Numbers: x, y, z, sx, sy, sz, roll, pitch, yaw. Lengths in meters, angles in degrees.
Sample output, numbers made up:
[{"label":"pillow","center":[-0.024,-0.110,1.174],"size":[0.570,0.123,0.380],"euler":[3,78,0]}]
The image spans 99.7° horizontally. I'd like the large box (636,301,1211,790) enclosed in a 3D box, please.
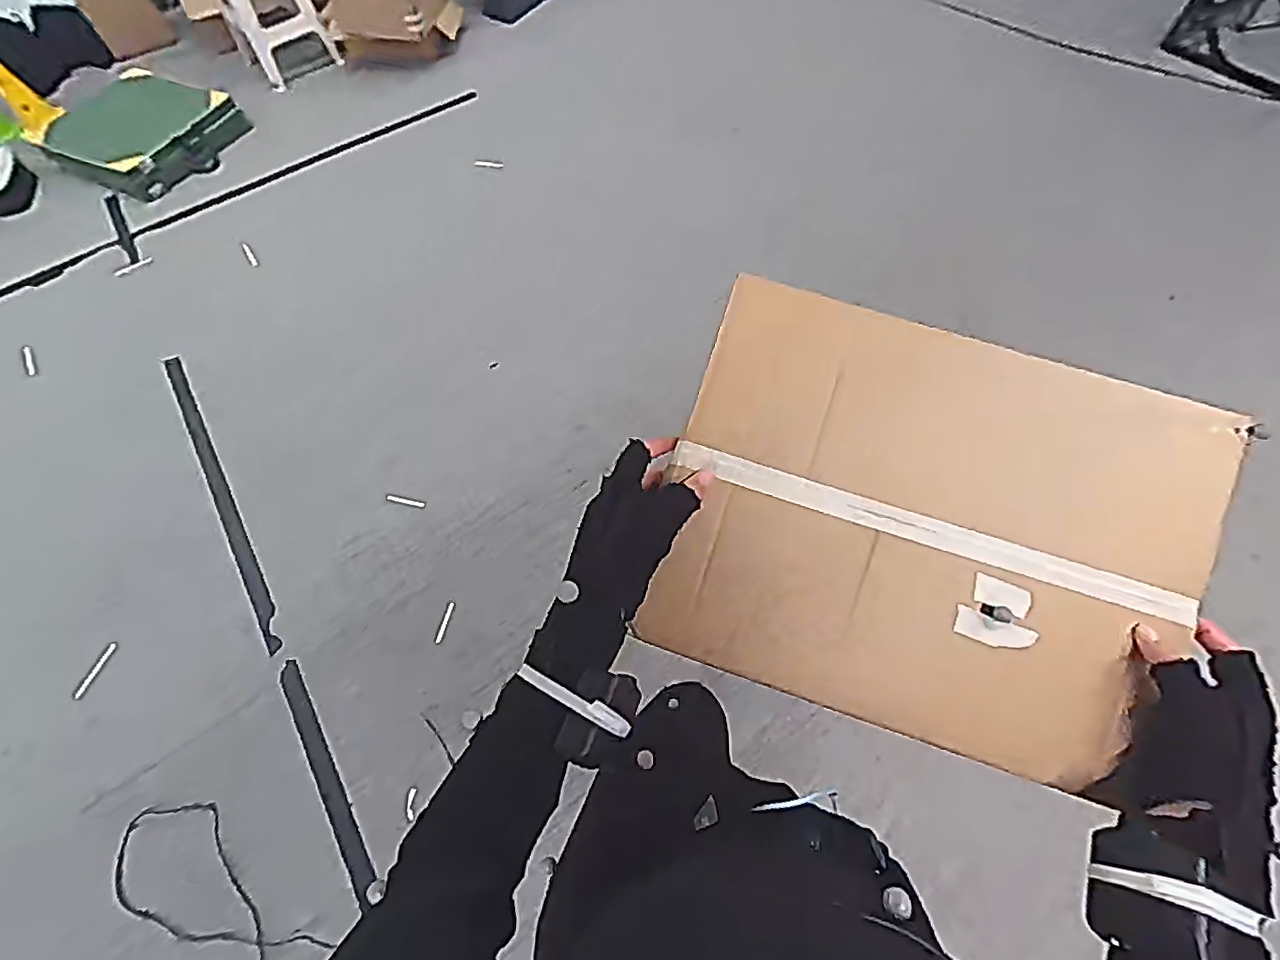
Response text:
[{"label":"large box","center":[0.236,0.052,0.593],"size":[0.408,0.320,0.320],"euler":[18,89,5]}]
